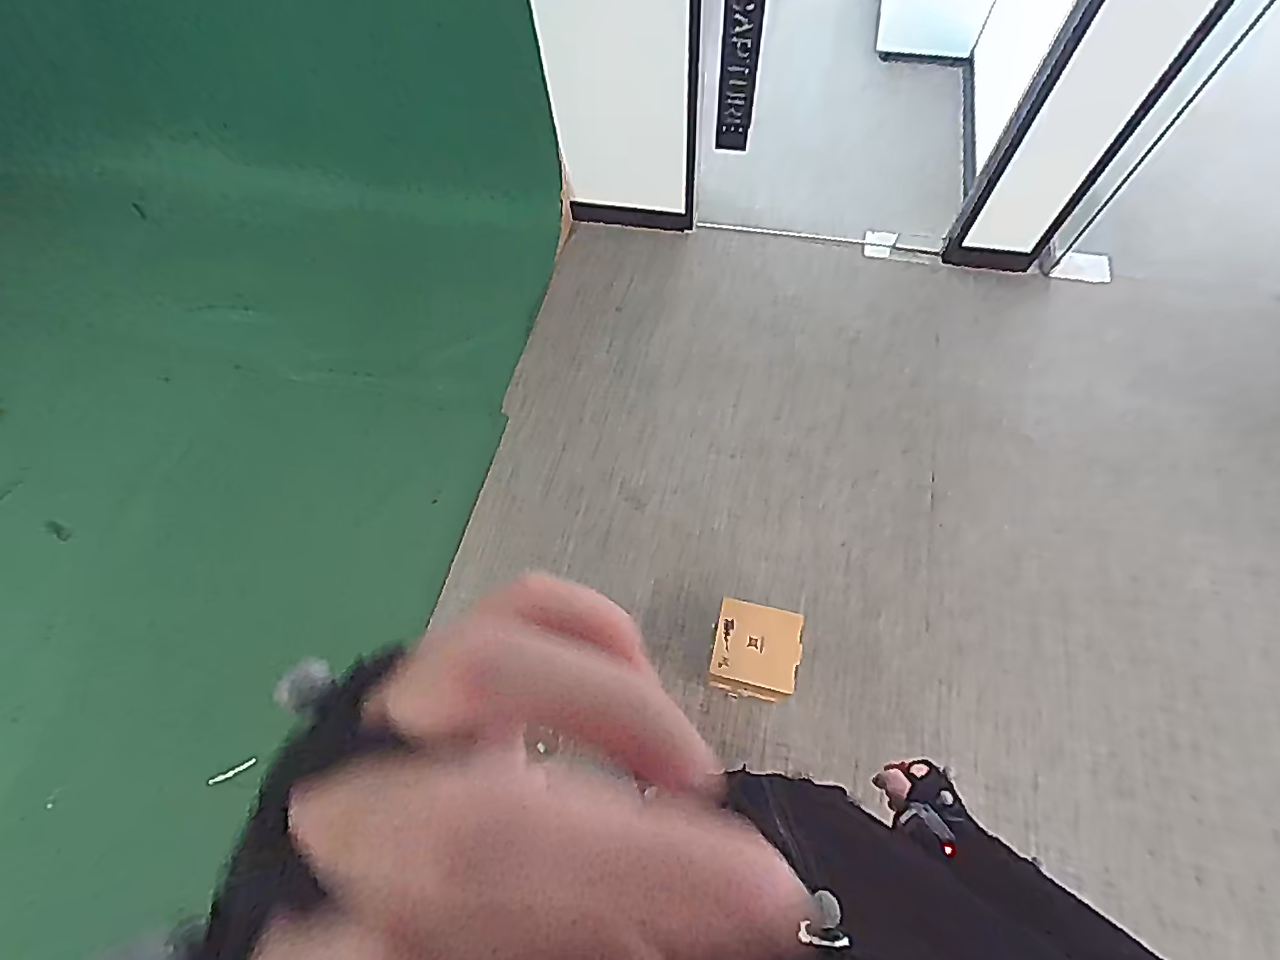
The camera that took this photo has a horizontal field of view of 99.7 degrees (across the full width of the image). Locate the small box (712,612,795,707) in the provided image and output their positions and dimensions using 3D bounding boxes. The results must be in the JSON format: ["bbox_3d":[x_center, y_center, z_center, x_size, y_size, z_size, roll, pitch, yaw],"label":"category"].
[{"bbox_3d":[0.276,0.447,1.338,0.168,0.176,0.179,12,67,12],"label":"small box"}]
